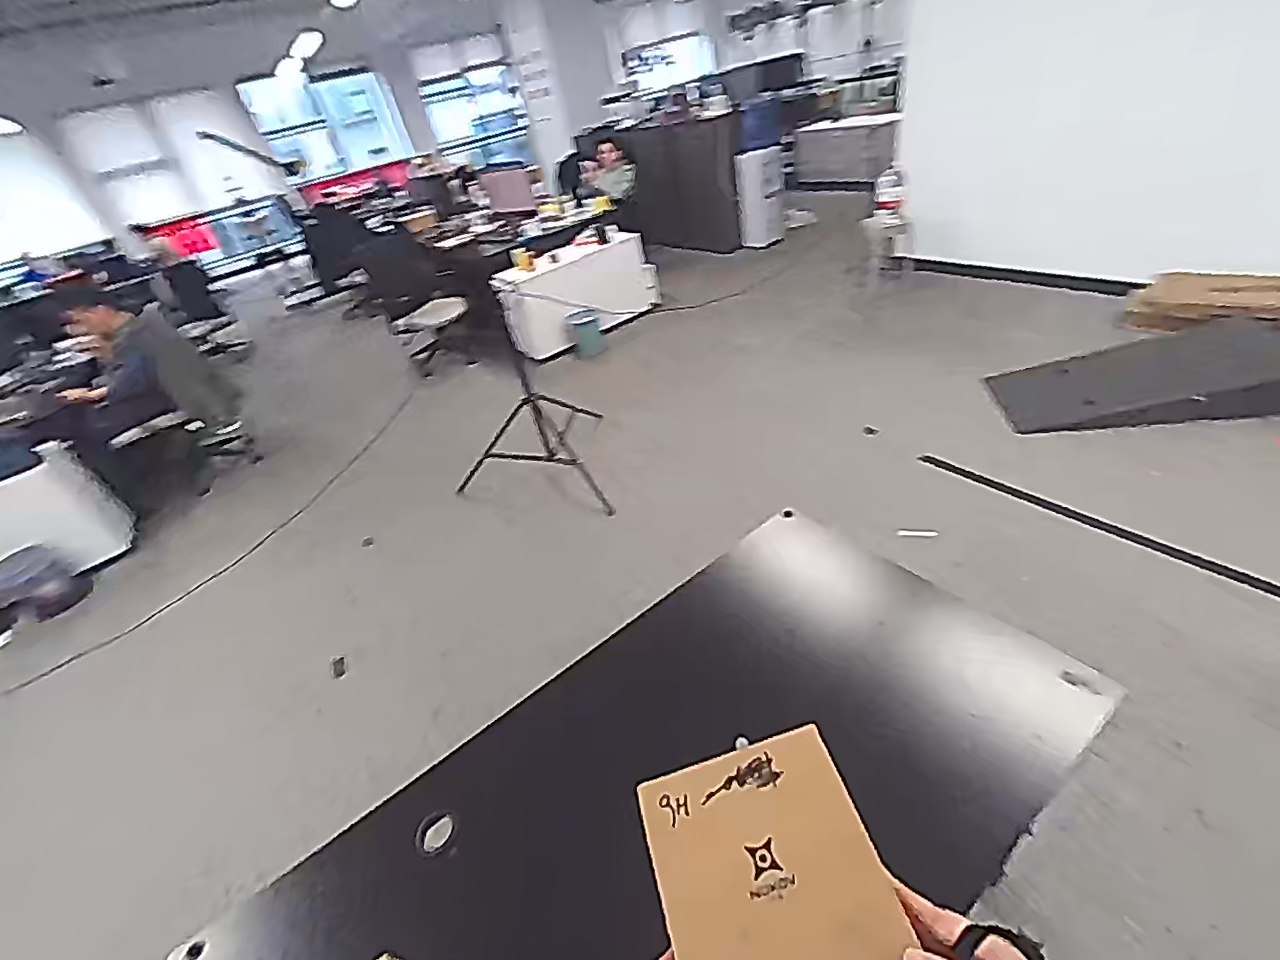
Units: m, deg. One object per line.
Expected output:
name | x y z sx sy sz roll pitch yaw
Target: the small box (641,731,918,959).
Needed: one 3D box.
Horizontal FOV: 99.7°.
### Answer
small box | 0.112 0.353 0.470 0.168 0.176 0.179 -17 47 -1
